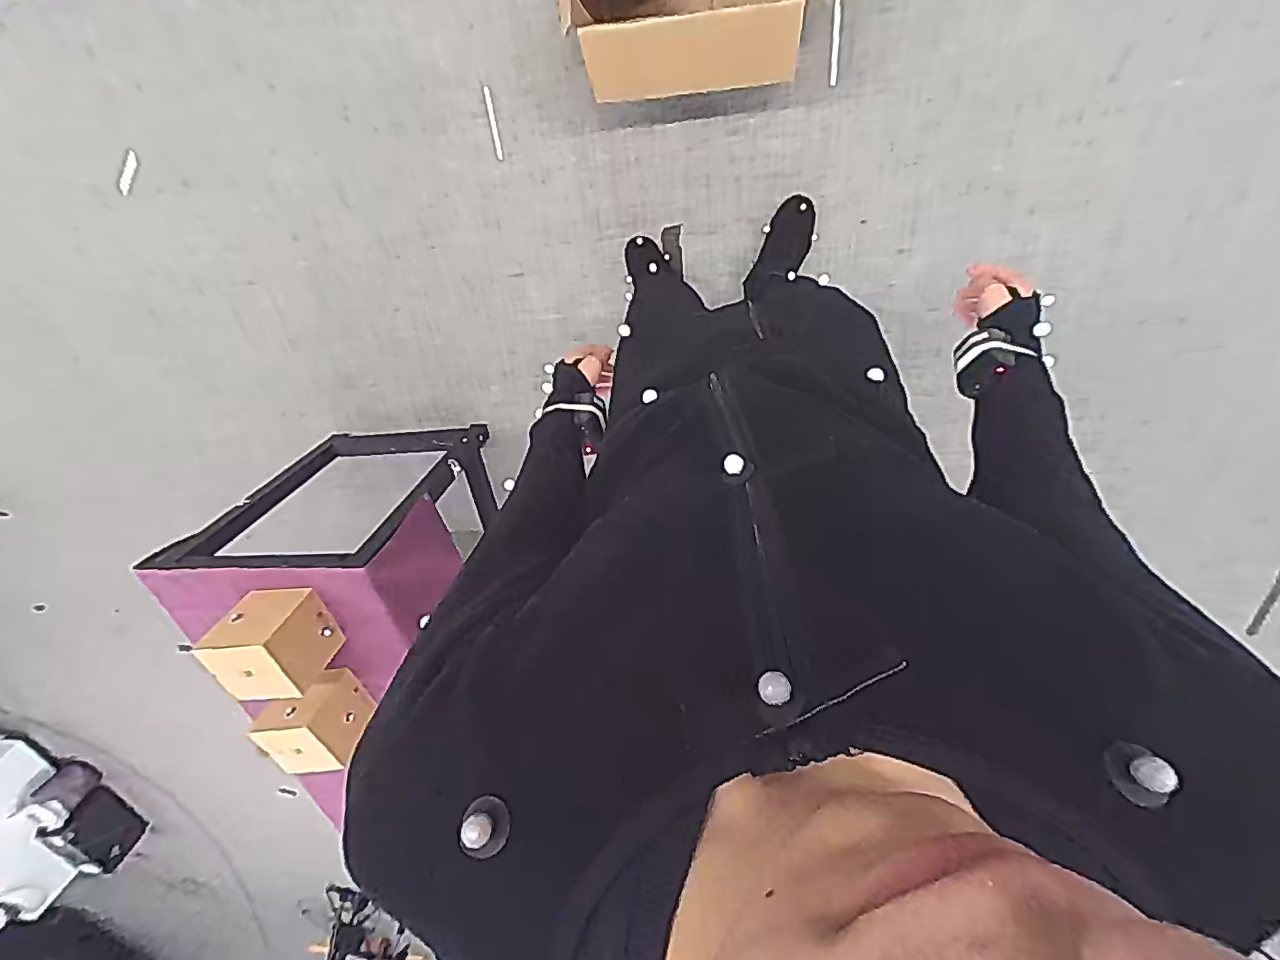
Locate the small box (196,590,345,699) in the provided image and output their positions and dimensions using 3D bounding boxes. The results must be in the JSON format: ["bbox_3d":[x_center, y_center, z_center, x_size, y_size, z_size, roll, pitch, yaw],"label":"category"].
[{"bbox_3d":[-0.803,0.359,1.195,0.179,0.176,0.168,-5,122,12],"label":"small box"}]

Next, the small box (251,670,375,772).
[{"bbox_3d":[-0.792,0.592,1.337,0.179,0.176,0.168,-10,119,15],"label":"small box"}]
